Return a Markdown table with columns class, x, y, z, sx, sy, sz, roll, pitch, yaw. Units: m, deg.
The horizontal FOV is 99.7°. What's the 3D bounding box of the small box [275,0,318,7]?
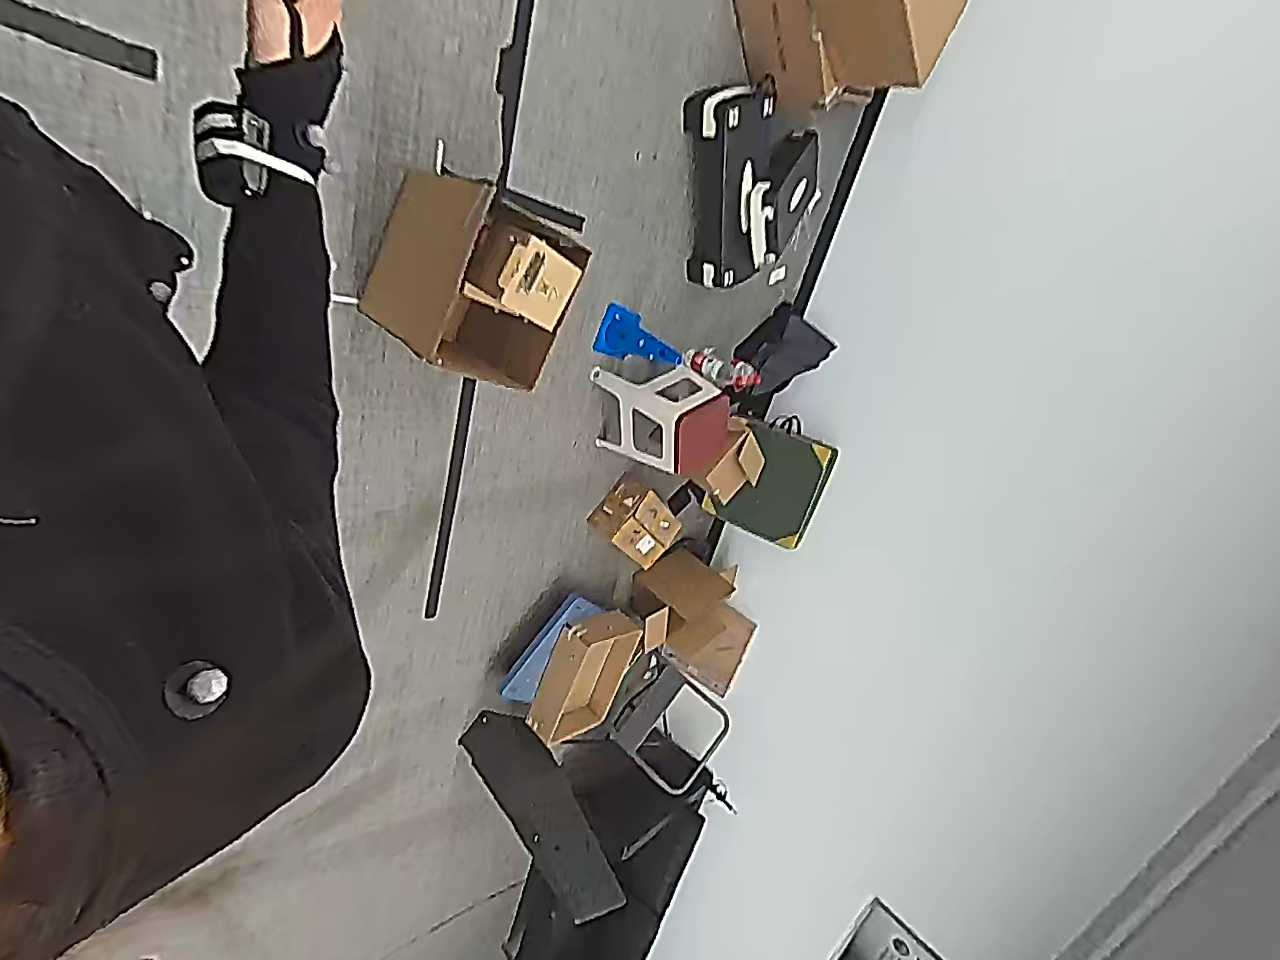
| class | x | y | z | sx | sy | sz | roll | pitch | yaw |
| --- | --- | --- | --- | --- | --- | --- | --- | --- | --- |
| small box | -0.318 | -0.514 | 0.414 | 0.168 | 0.176 | 0.179 | 16 | 111 | -47 |
